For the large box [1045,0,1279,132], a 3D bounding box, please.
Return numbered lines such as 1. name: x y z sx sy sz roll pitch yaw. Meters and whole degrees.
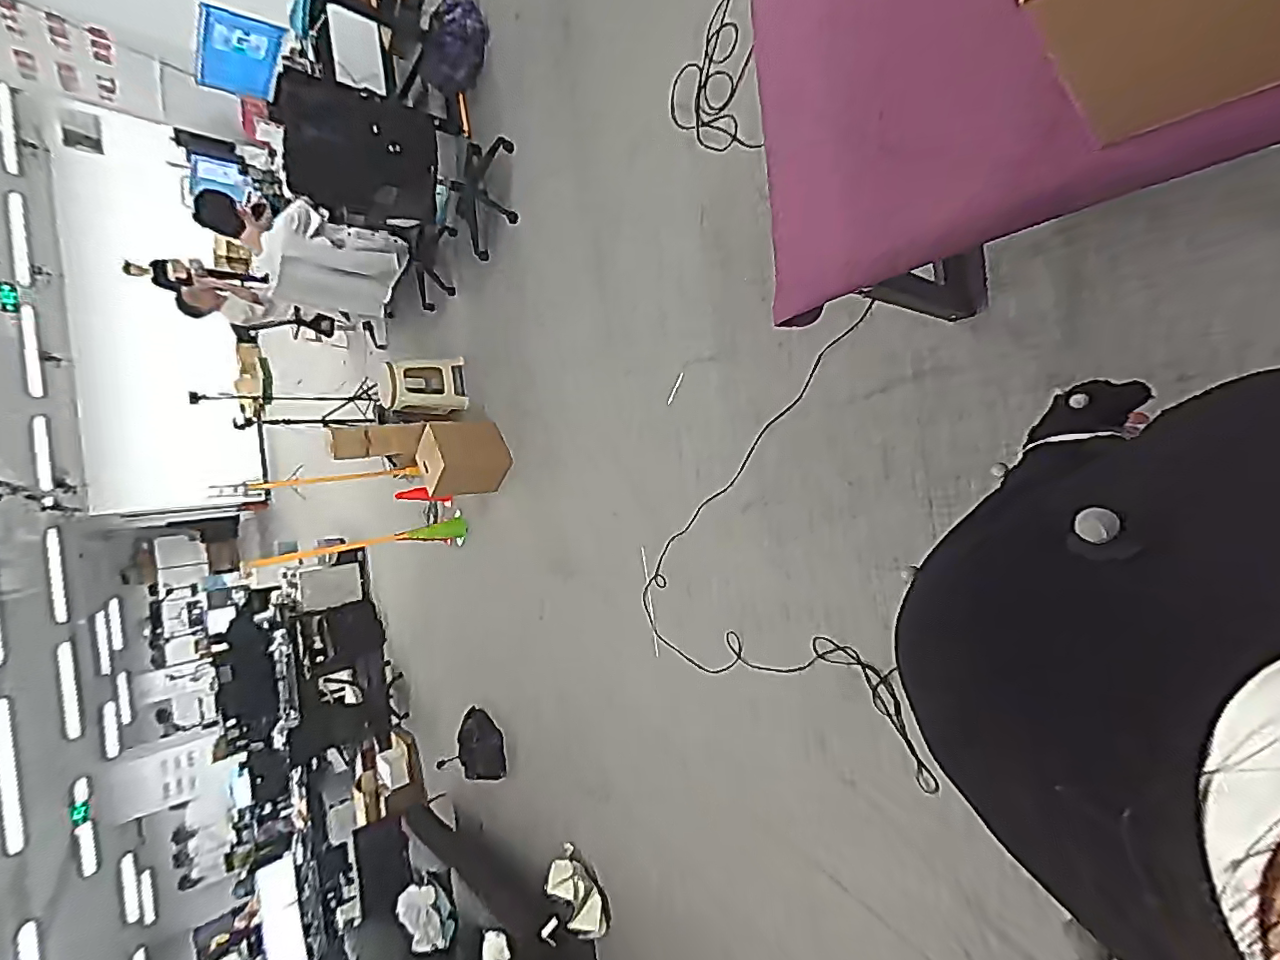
1. large box: 0.485 -0.565 0.378 0.320 0.320 0.408 -2 93 48
